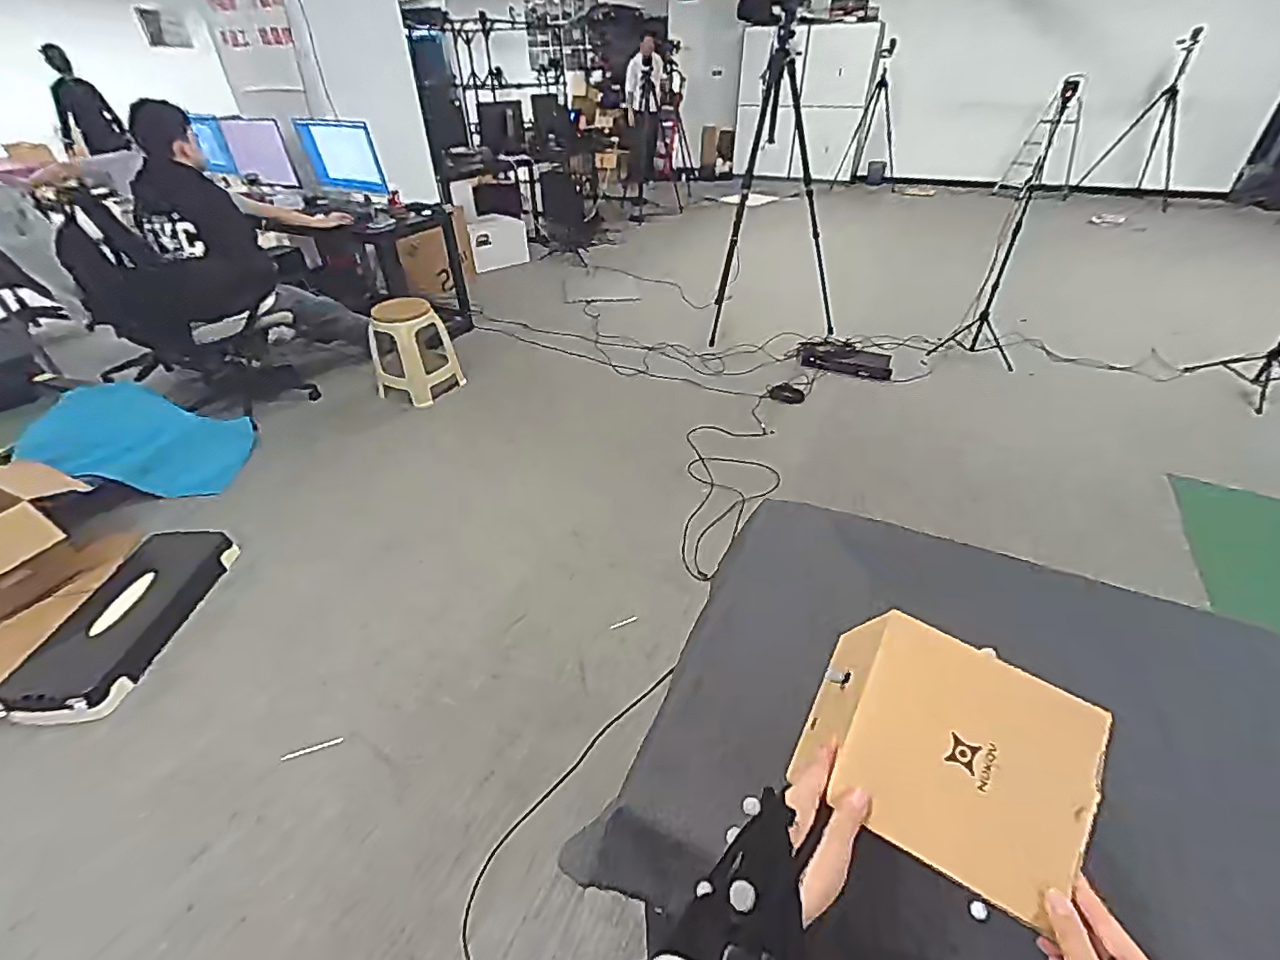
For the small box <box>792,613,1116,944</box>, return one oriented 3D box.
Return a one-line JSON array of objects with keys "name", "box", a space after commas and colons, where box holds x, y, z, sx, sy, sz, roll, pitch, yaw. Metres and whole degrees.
[{"name": "small box", "box": [0.255, 0.244, 0.481, 0.179, 0.176, 0.168, 26, 71, 13]}]
